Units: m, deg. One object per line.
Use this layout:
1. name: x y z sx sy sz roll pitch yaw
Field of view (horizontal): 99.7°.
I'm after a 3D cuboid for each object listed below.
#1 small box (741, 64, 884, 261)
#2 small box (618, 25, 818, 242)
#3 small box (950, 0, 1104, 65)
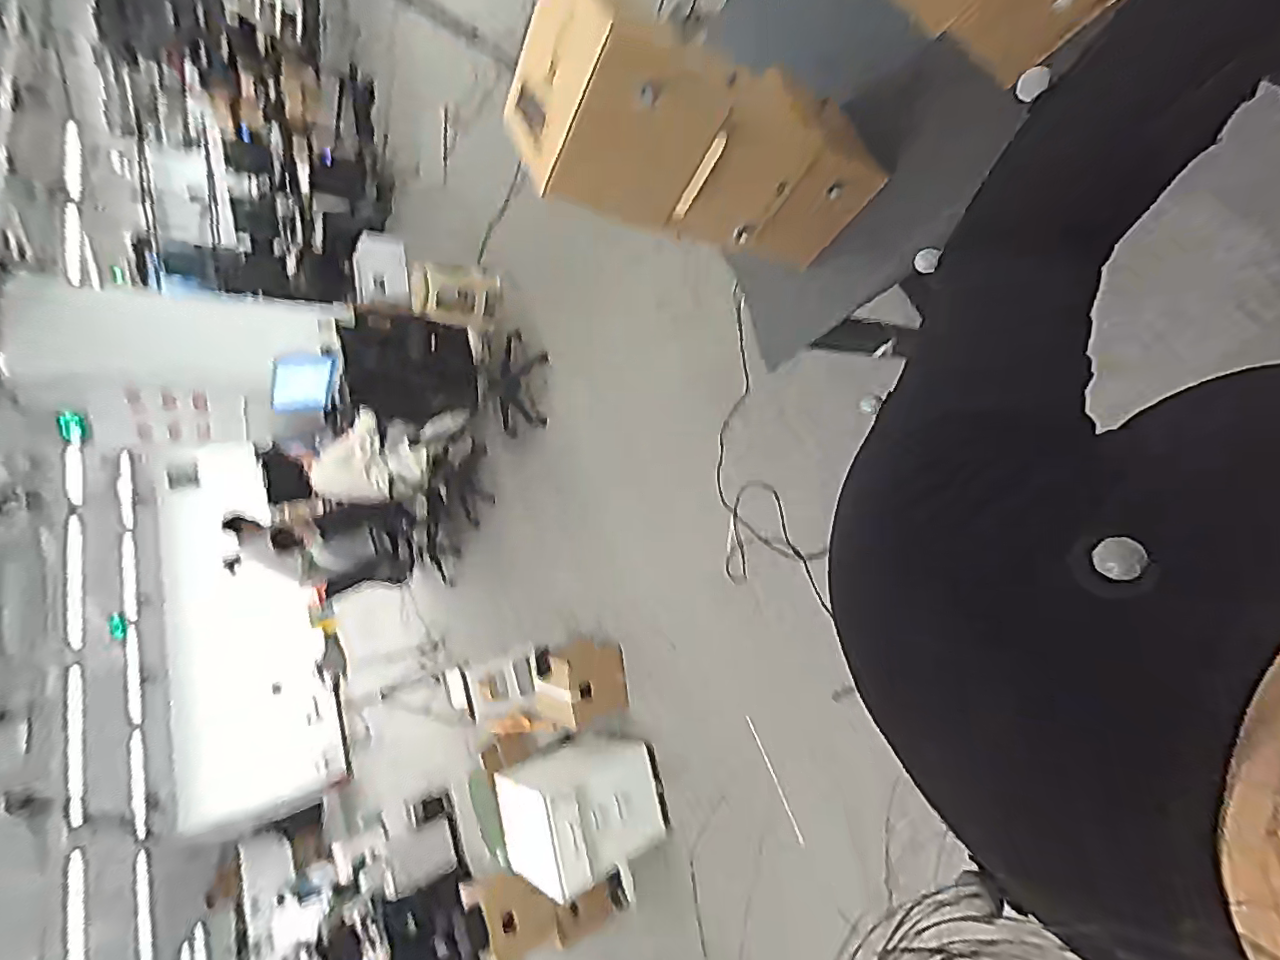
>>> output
1. small box: 0.237 -0.466 0.821 0.179 0.176 0.168 -45 58 46
2. small box: 0.102 -0.448 0.728 0.168 0.176 0.179 -48 55 43
3. small box: 0.417 -0.587 0.569 0.168 0.176 0.179 -30 70 51
